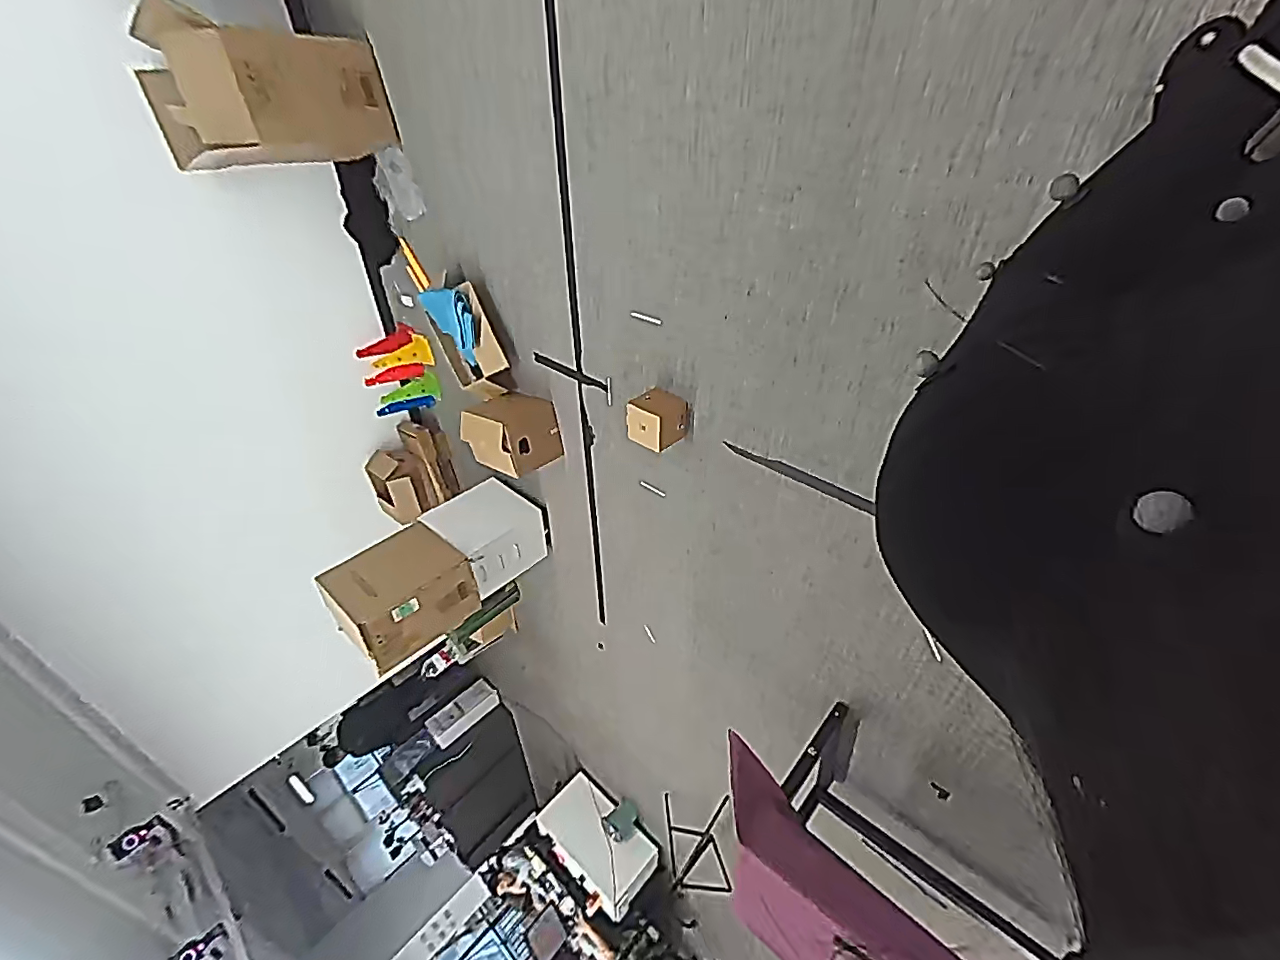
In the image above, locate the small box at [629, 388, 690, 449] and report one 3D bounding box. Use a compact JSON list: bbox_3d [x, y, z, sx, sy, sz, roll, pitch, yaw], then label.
[{"bbox_3d":[0.076,-0.252,2.155,0.179,0.176,0.168,27,136,33],"label":"small box"}]
